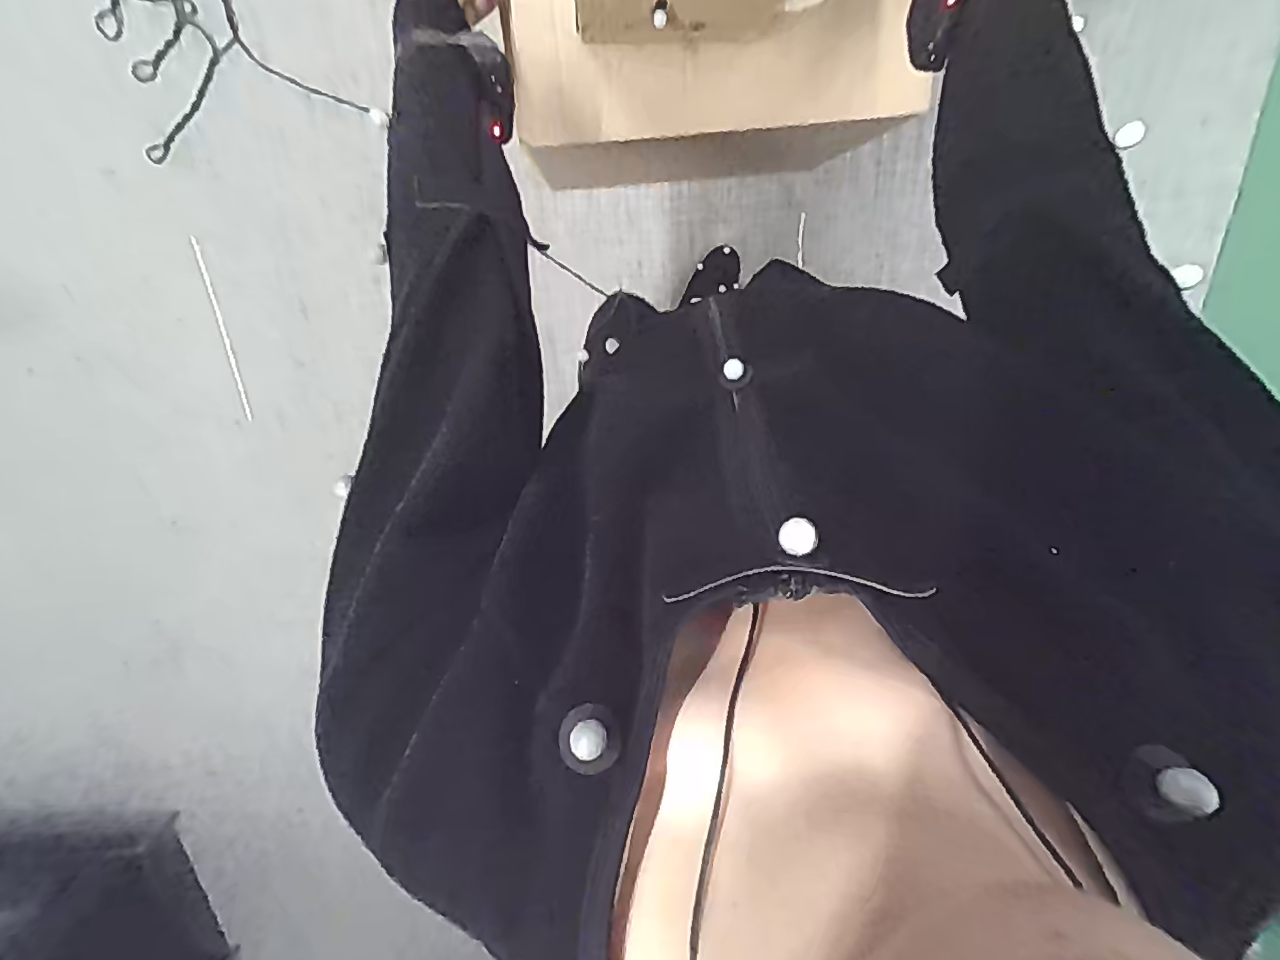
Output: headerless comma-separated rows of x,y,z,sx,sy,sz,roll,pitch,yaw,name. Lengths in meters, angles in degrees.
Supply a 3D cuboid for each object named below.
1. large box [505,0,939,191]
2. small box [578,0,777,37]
0.061,-0.537,0.606,0.408,0.320,0.320,-7,112,-2,large box
0.031,-0.450,0.376,0.168,0.176,0.179,-3,111,-3,small box
